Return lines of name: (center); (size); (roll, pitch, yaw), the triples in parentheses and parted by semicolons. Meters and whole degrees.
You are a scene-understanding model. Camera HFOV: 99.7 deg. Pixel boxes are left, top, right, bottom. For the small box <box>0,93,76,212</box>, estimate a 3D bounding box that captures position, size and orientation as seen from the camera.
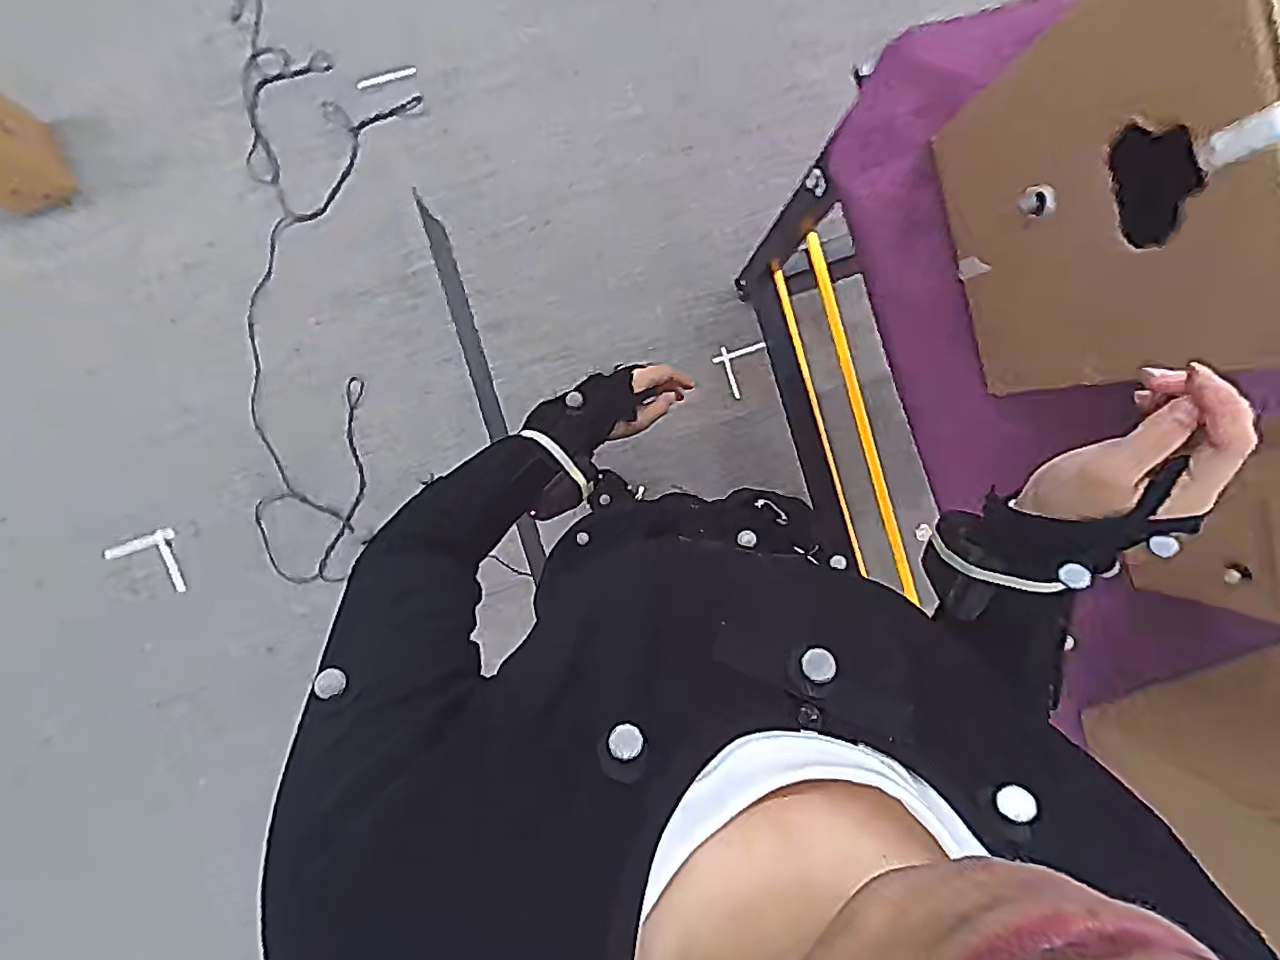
small box: (-1.423, -0.730, 1.183); (0.168, 0.176, 0.179); (-24, 94, -1)
